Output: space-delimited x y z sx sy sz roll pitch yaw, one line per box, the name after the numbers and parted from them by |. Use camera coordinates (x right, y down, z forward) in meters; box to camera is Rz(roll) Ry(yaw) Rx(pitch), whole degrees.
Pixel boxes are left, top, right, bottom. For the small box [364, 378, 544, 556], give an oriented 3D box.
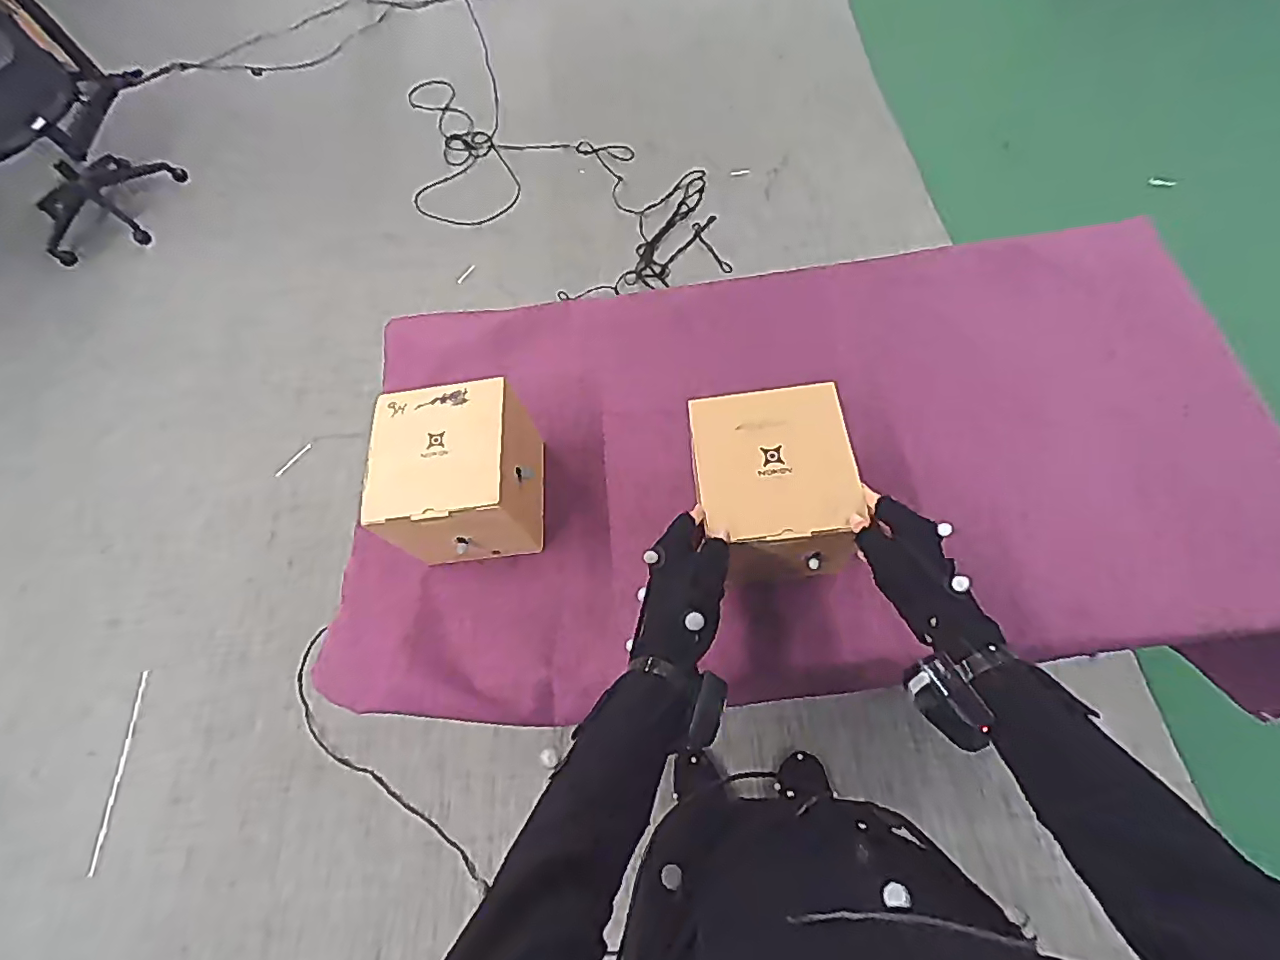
-0.226 -0.005 0.707 0.168 0.176 0.179 -7 65 5 | small box

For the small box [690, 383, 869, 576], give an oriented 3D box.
0.152 0.011 0.644 0.168 0.176 0.179 -6 64 5 | small box
